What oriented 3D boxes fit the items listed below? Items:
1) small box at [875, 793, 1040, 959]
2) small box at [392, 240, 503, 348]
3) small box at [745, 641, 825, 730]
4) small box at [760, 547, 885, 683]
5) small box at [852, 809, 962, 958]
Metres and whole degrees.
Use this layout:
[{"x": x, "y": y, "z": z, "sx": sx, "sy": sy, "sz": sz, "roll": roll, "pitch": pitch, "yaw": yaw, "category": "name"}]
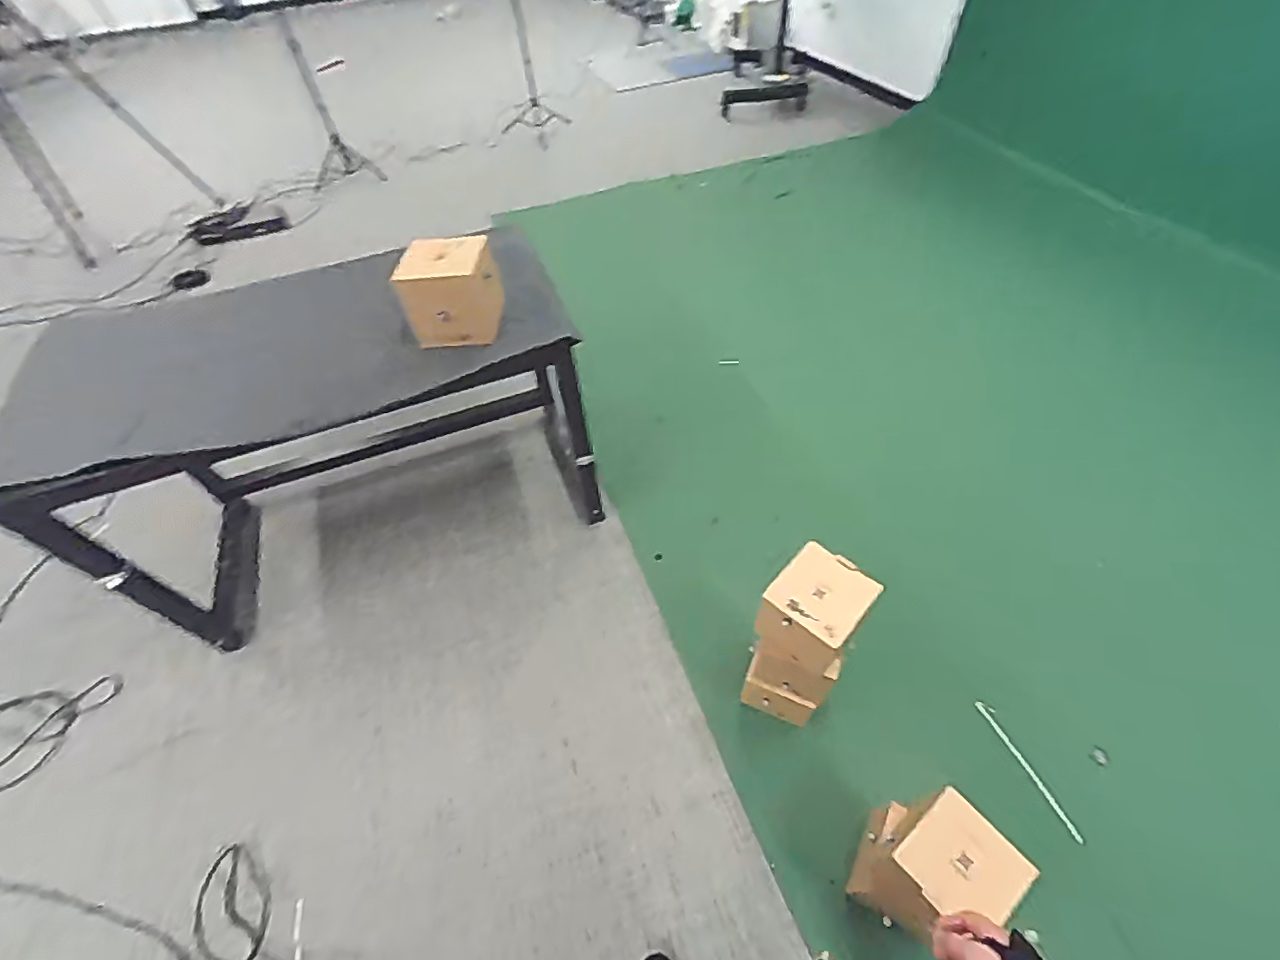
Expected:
[{"x": 0.547, "y": 0.702, "z": 0.961, "sx": 0.179, "sy": 0.176, "sz": 0.168, "roll": -33, "pitch": 57, "yaw": -21, "category": "small box"}, {"x": -0.413, "y": -0.404, "z": 1.196, "sx": 0.168, "sy": 0.176, "sz": 0.179, "roll": -3, "pitch": 49, "yaw": 2, "category": "small box"}, {"x": 0.367, "y": 0.496, "z": 1.354, "sx": 0.168, "sy": 0.176, "sz": 0.179, "roll": 18, "pitch": 54, "yaw": 18, "category": "small box"}, {"x": 0.362, "y": 0.278, "z": 1.108, "sx": 0.168, "sy": 0.176, "sz": 0.179, "roll": 35, "pitch": 62, "yaw": 29, "category": "small box"}, {"x": 0.547, "y": 0.804, "z": 1.088, "sx": 0.168, "sy": 0.176, "sz": 0.179, "roll": 24, "pitch": 57, "yaw": 22, "category": "small box"}]
